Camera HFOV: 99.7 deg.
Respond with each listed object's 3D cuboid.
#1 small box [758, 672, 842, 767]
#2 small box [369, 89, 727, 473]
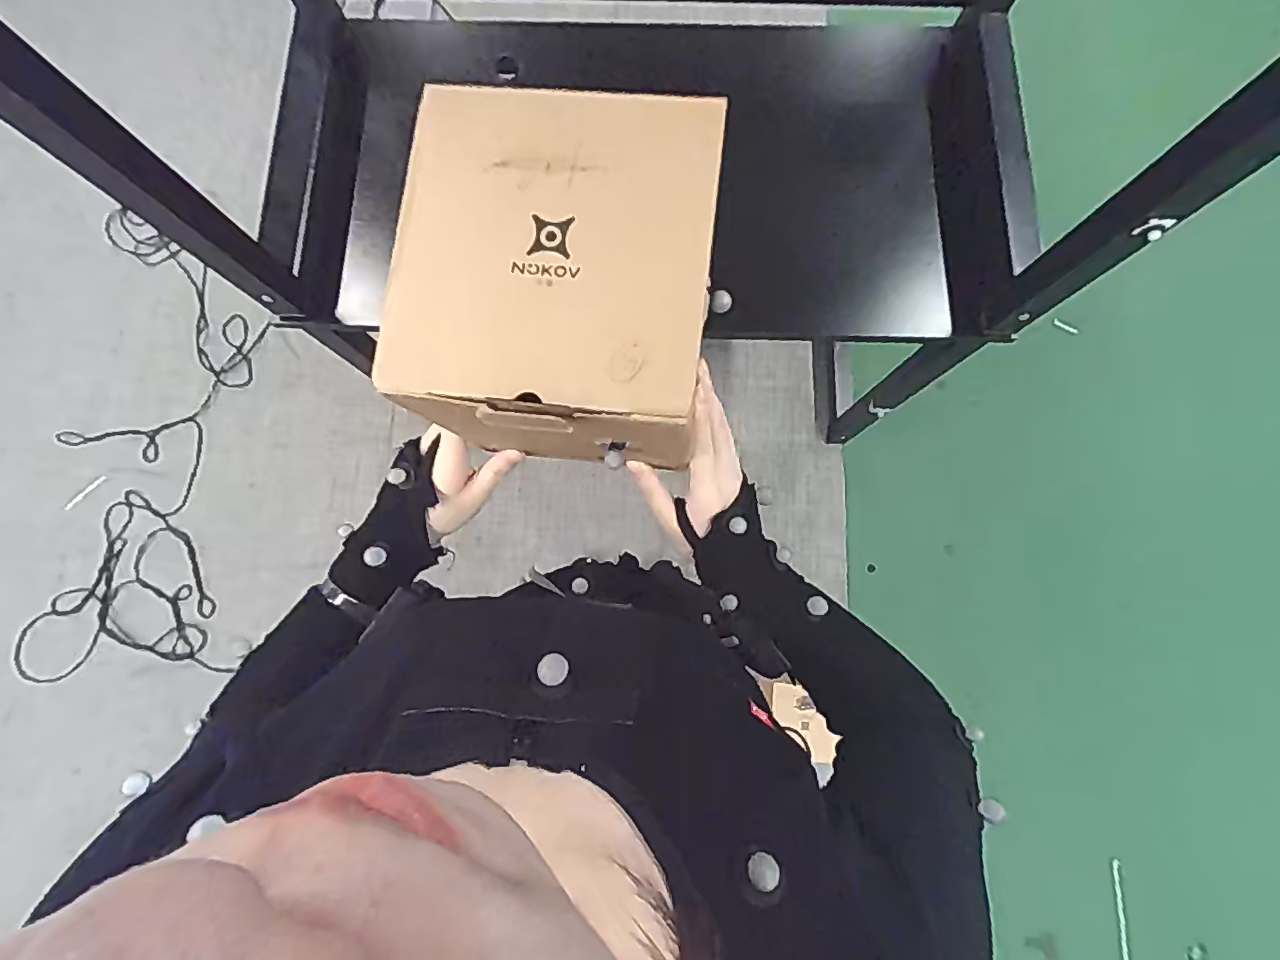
[{"bbox_3d":[0.396,0.593,1.362,0.168,0.176,0.179,5,81,2],"label":"small box"},{"bbox_3d":[-0.040,-0.105,0.352,0.168,0.176,0.179,7,82,5],"label":"small box"}]
